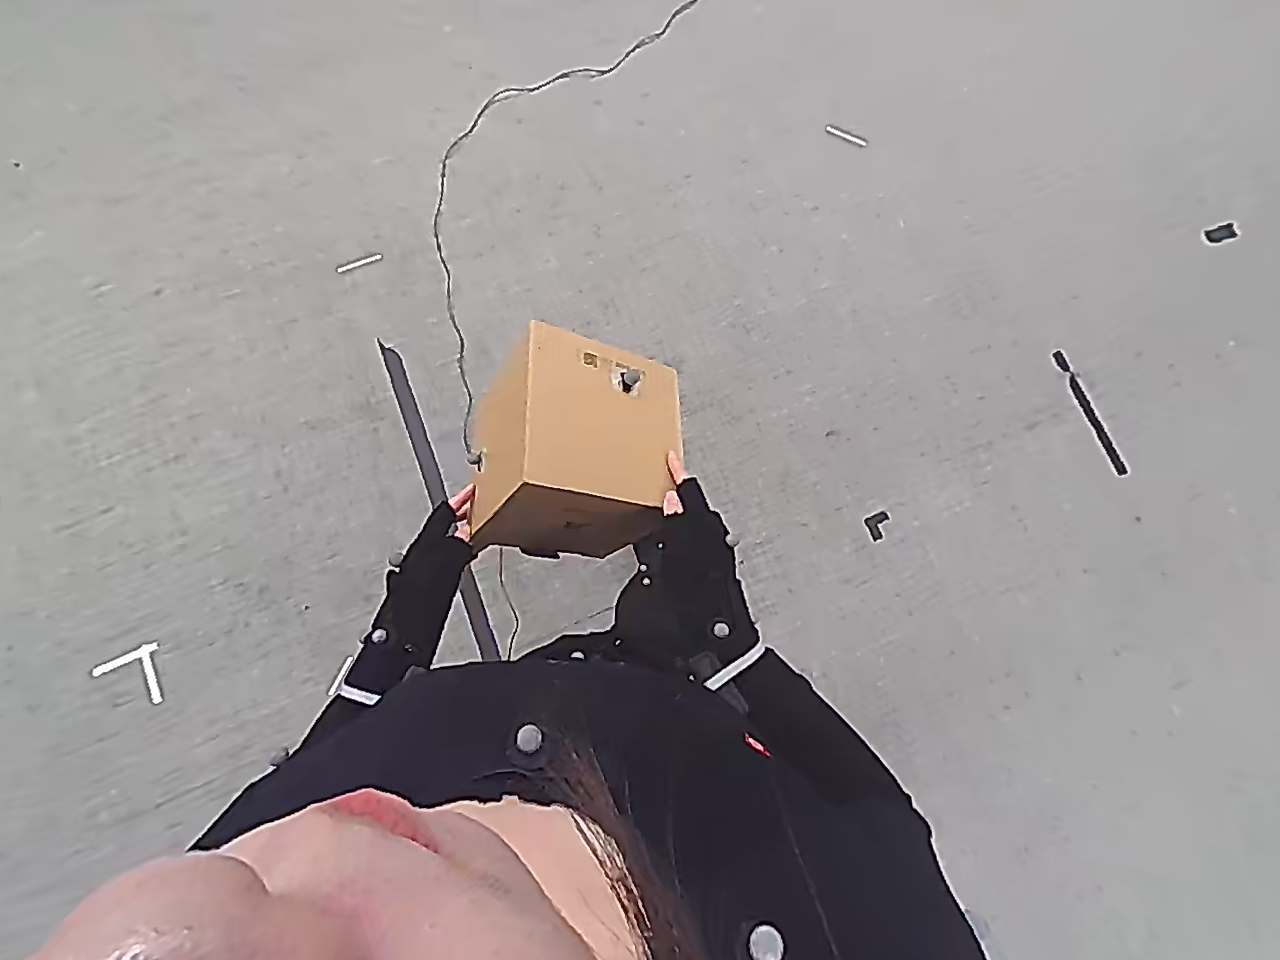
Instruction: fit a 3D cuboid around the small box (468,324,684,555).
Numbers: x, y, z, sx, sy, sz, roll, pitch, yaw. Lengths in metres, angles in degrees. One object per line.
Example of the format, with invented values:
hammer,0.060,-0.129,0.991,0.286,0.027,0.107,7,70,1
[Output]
small box,-0.071,-0.030,0.575,0.168,0.179,0.176,11,62,-30
